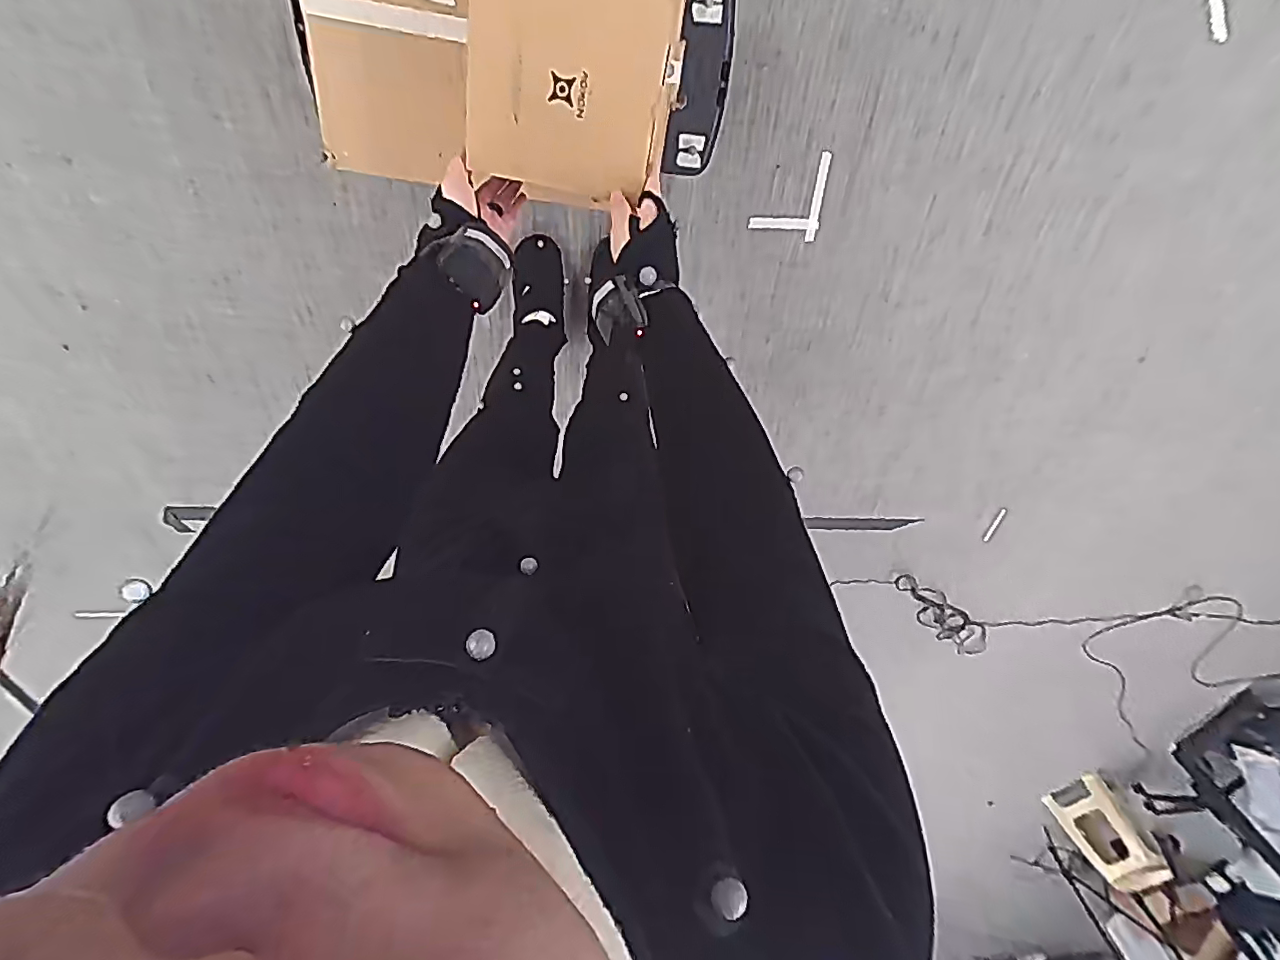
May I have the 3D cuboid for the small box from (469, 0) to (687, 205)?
[{"bbox_3d":[-0.067,-0.400,0.545,0.179,0.176,0.168,7,126,-11],"label":"small box"}]

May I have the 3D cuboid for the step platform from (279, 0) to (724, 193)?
[{"bbox_3d":[-0.207,-0.703,0.910,0.684,0.204,0.286,6,125,-10],"label":"step platform"}]

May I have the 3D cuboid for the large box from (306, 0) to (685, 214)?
[{"bbox_3d":[-0.164,-0.571,0.714,0.408,0.320,0.320,4,125,-8],"label":"large box"}]
